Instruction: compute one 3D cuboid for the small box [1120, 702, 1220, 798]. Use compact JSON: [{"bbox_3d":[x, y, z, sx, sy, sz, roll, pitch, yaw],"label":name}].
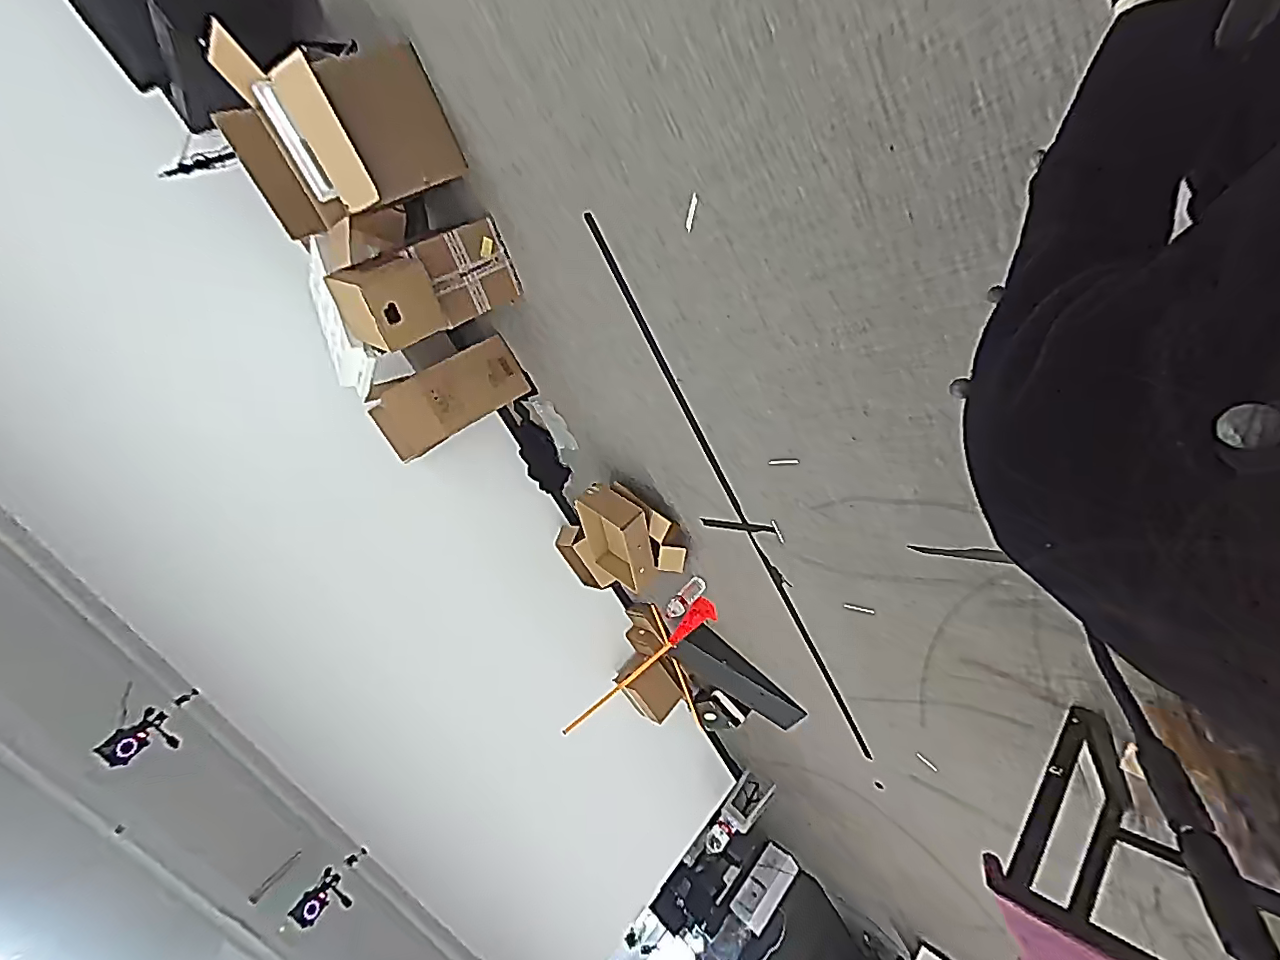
[{"bbox_3d":[1.620,0.814,1.654,0.179,0.176,0.168,19,139,43],"label":"small box"}]
